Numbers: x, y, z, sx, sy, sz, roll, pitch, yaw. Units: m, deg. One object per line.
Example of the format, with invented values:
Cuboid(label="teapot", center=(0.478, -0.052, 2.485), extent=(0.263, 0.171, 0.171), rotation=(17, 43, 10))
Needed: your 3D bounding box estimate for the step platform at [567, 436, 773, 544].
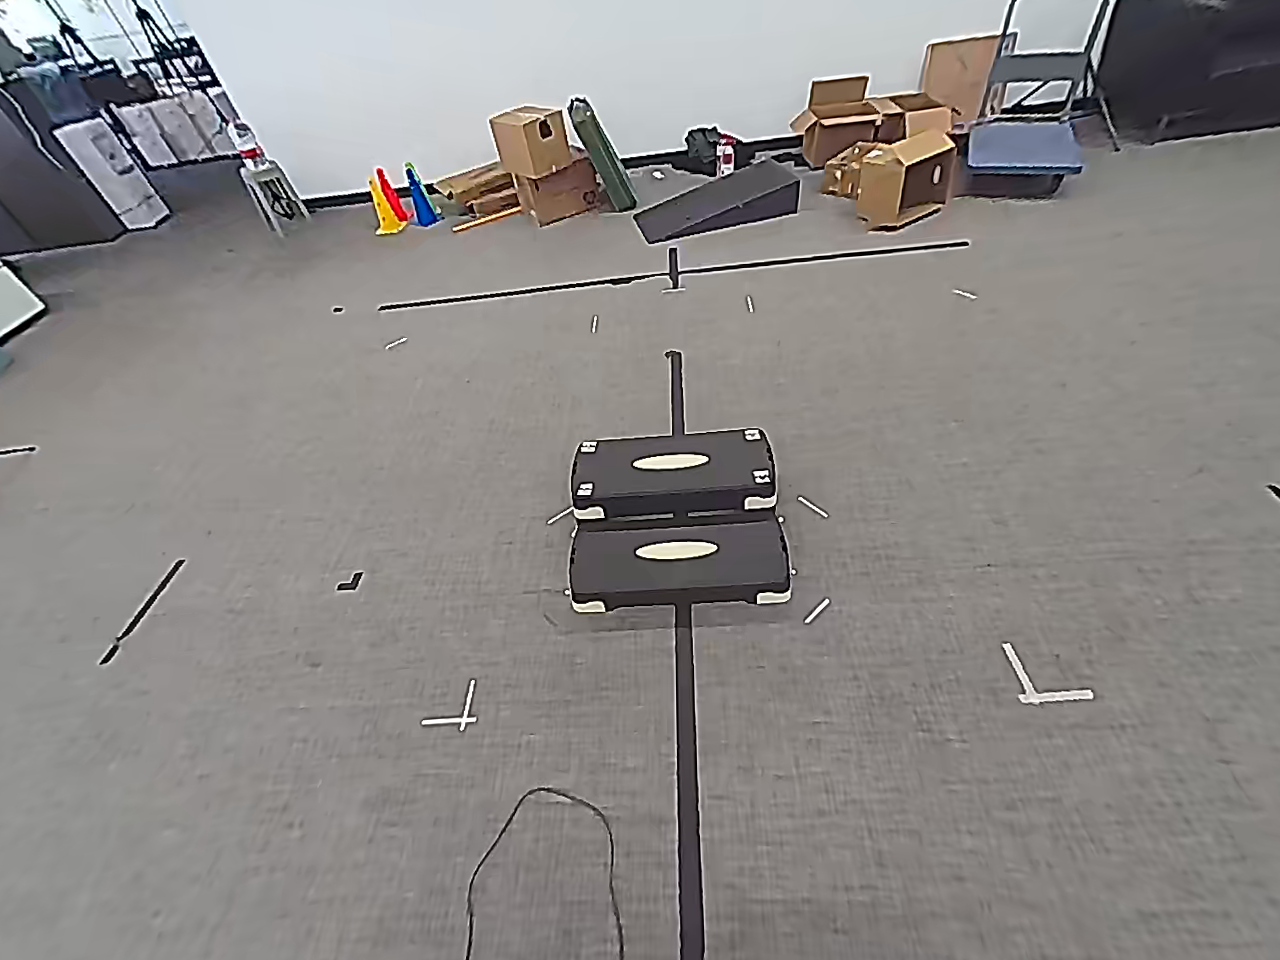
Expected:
Cuboid(label="step platform", center=(0.097, 0.027, 1.832), extent=(0.684, 0.204, 0.286), rotation=(-4, 47, 4))
